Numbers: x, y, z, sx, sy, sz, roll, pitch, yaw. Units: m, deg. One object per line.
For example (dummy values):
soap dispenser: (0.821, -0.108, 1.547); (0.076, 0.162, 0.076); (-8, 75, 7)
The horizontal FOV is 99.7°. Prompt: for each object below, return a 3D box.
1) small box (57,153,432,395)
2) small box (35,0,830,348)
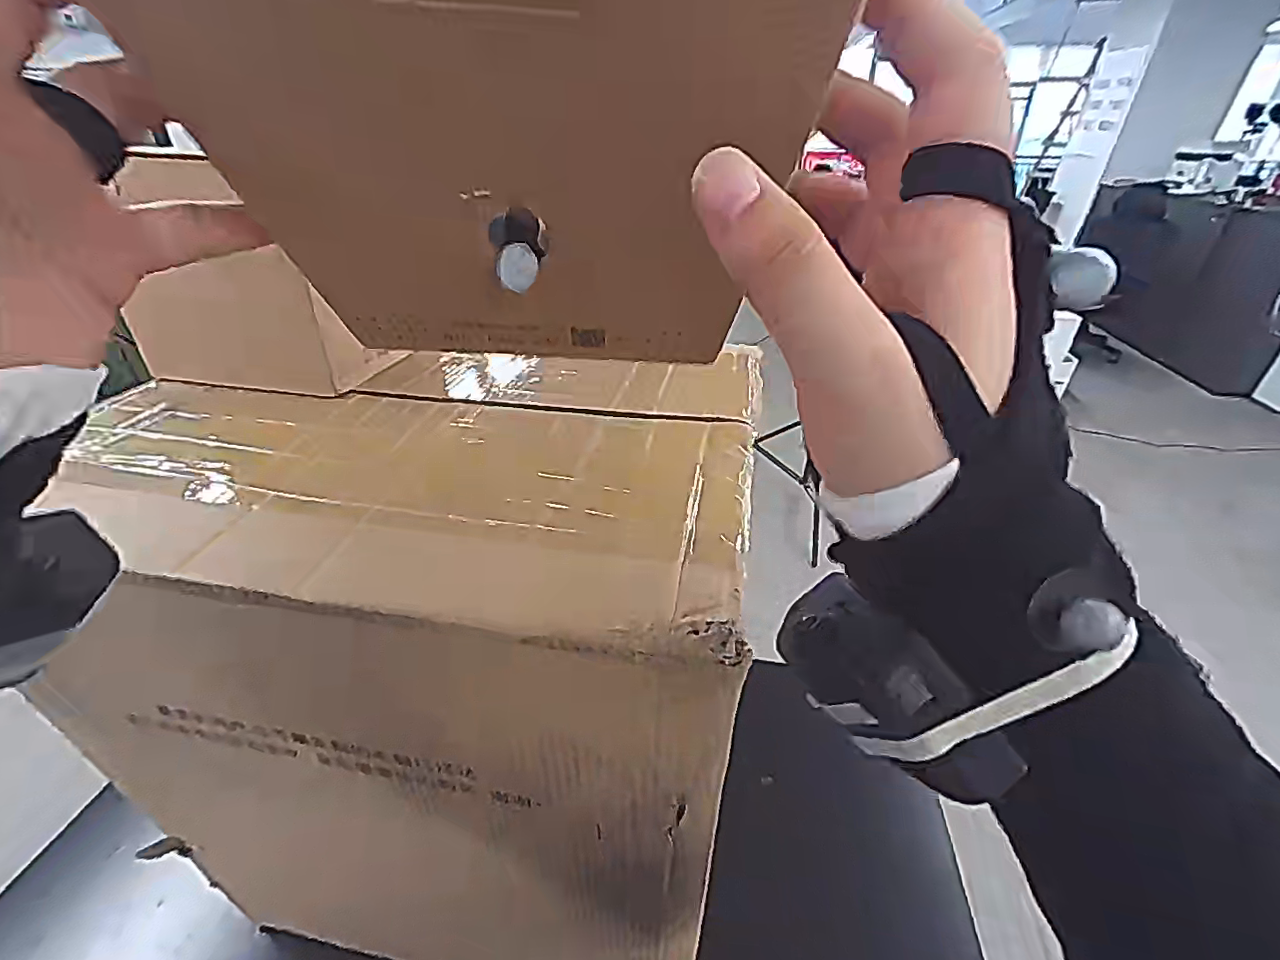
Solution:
small box: (-0.309, -0.183, 0.469); (0.179, 0.176, 0.168); (7, 32, 8)
small box: (-0.040, -0.161, 0.190); (0.168, 0.176, 0.179); (1, 76, -3)
